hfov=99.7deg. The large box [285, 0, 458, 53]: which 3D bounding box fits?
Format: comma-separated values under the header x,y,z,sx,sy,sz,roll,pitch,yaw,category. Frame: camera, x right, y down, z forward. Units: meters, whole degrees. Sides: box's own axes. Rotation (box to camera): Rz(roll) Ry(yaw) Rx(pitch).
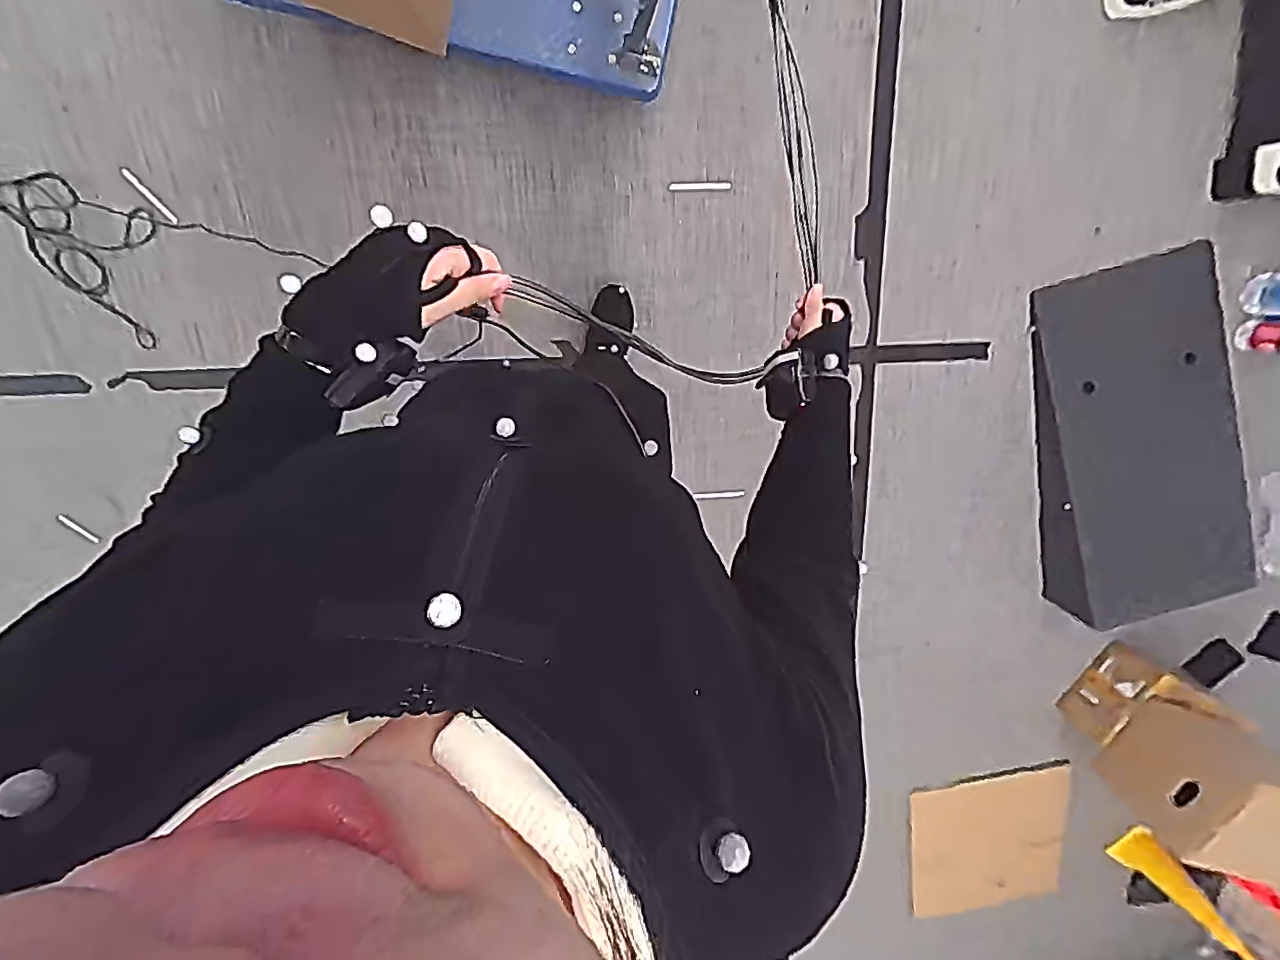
x,y,z,sx,sy,sz,roll,pitch,yaw,category
-0.504,-0.950,0.825,0.408,0.320,0.320,14,105,-9,large box
